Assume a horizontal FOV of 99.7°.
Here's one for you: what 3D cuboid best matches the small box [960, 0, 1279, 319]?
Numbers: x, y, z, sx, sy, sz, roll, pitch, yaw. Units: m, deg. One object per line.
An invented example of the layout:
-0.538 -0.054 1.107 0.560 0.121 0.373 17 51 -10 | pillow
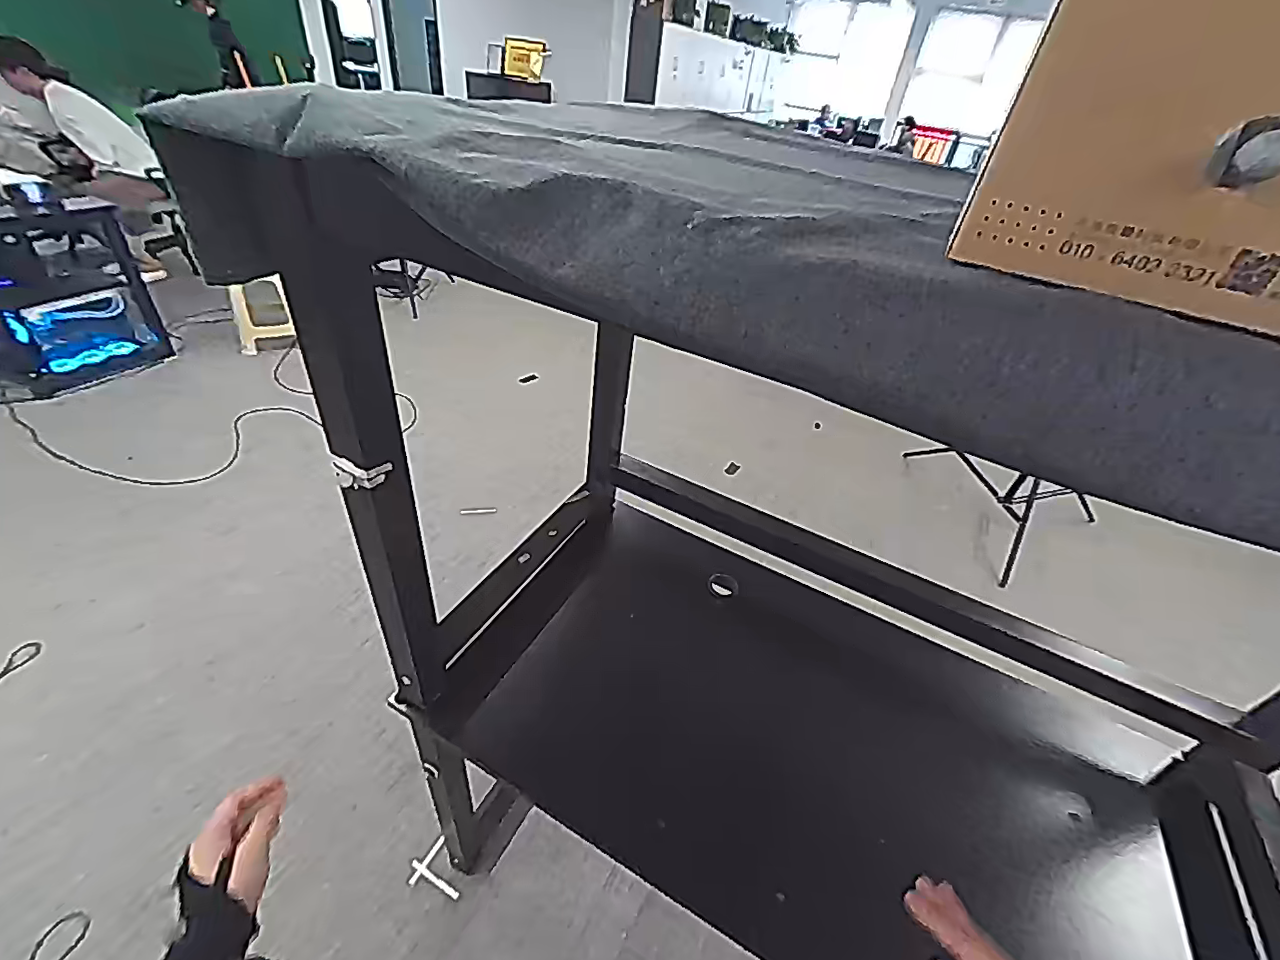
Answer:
0.265 -0.185 0.238 0.168 0.176 0.179 23 38 19 | small box
